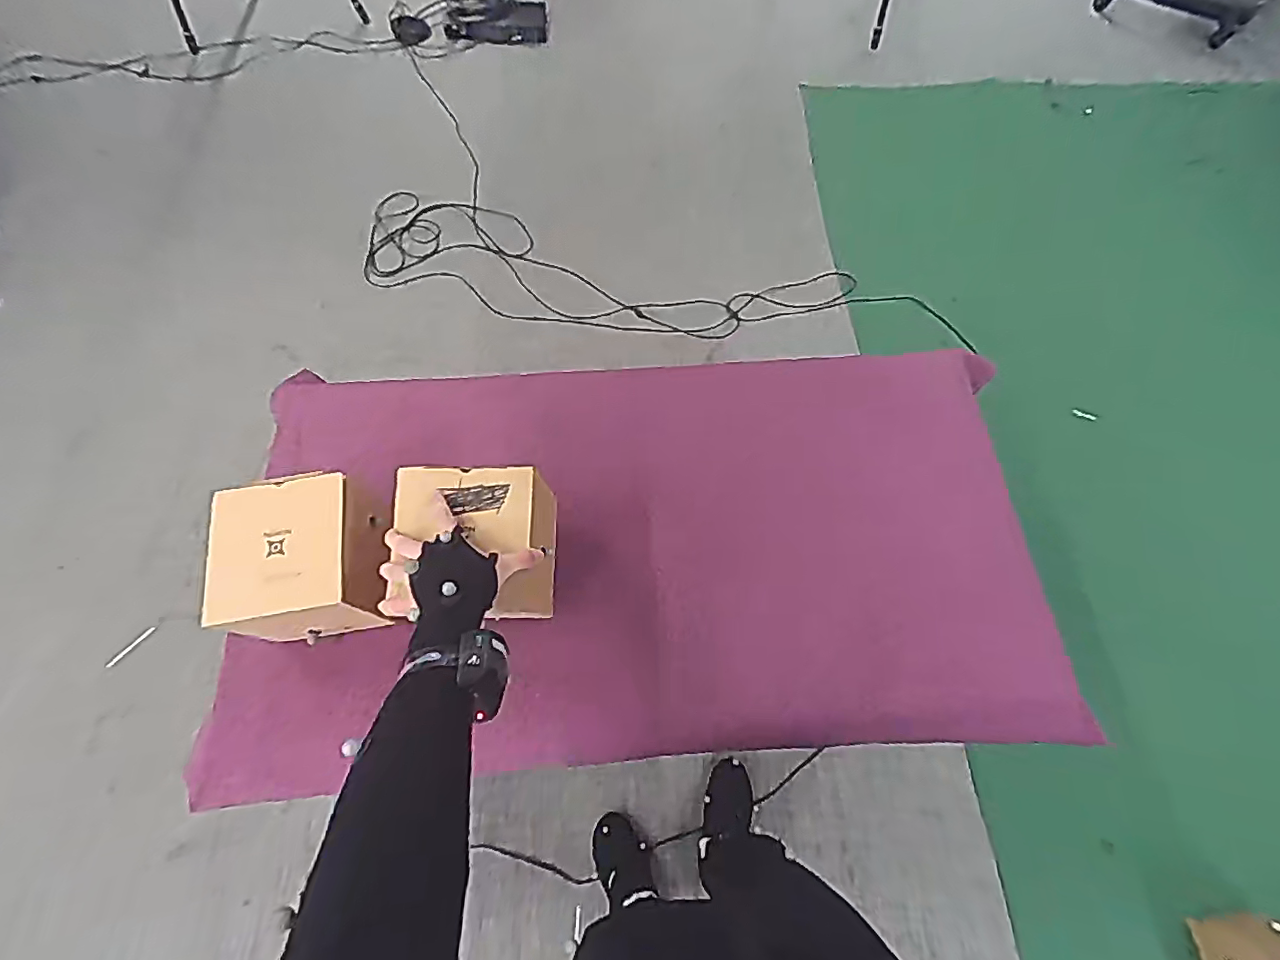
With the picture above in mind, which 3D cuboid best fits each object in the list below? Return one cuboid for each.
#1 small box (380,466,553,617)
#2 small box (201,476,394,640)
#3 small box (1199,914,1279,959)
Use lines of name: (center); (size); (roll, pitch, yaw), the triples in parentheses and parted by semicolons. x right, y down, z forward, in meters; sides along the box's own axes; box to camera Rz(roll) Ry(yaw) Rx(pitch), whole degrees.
small box: (-0.213, 0.088, 0.713); (0.168, 0.176, 0.179); (-1, 75, 2)
small box: (-0.458, 0.115, 0.758); (0.168, 0.176, 0.179); (-9, 68, -3)
small box: (1.349, 1.043, 1.136); (0.179, 0.176, 0.168); (-4, 66, -2)
